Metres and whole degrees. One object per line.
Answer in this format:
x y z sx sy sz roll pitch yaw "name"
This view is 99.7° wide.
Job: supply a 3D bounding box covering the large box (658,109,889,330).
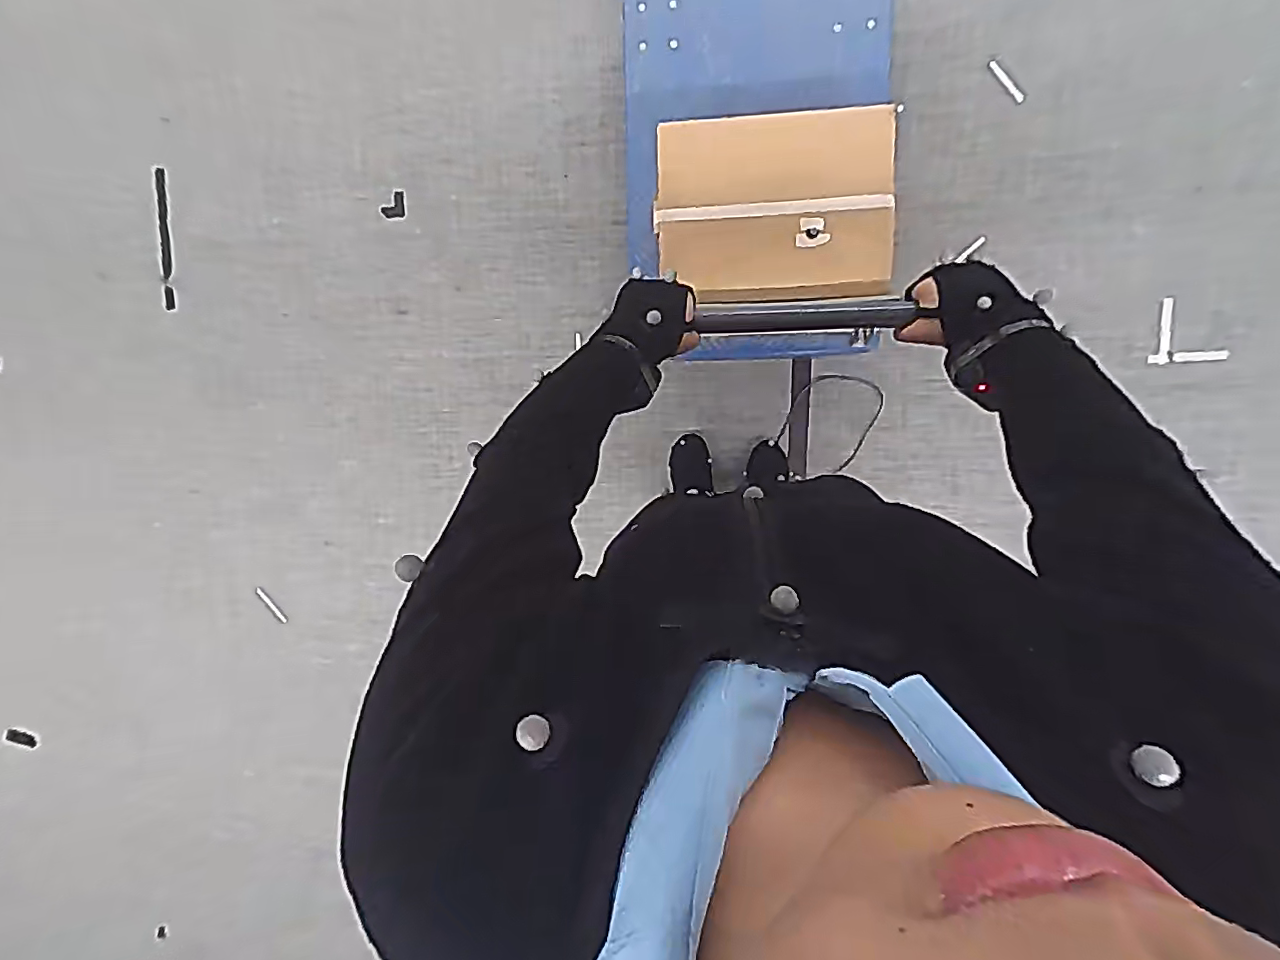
0.250 -0.497 1.111 0.408 0.320 0.320 -1 98 6 "large box"
